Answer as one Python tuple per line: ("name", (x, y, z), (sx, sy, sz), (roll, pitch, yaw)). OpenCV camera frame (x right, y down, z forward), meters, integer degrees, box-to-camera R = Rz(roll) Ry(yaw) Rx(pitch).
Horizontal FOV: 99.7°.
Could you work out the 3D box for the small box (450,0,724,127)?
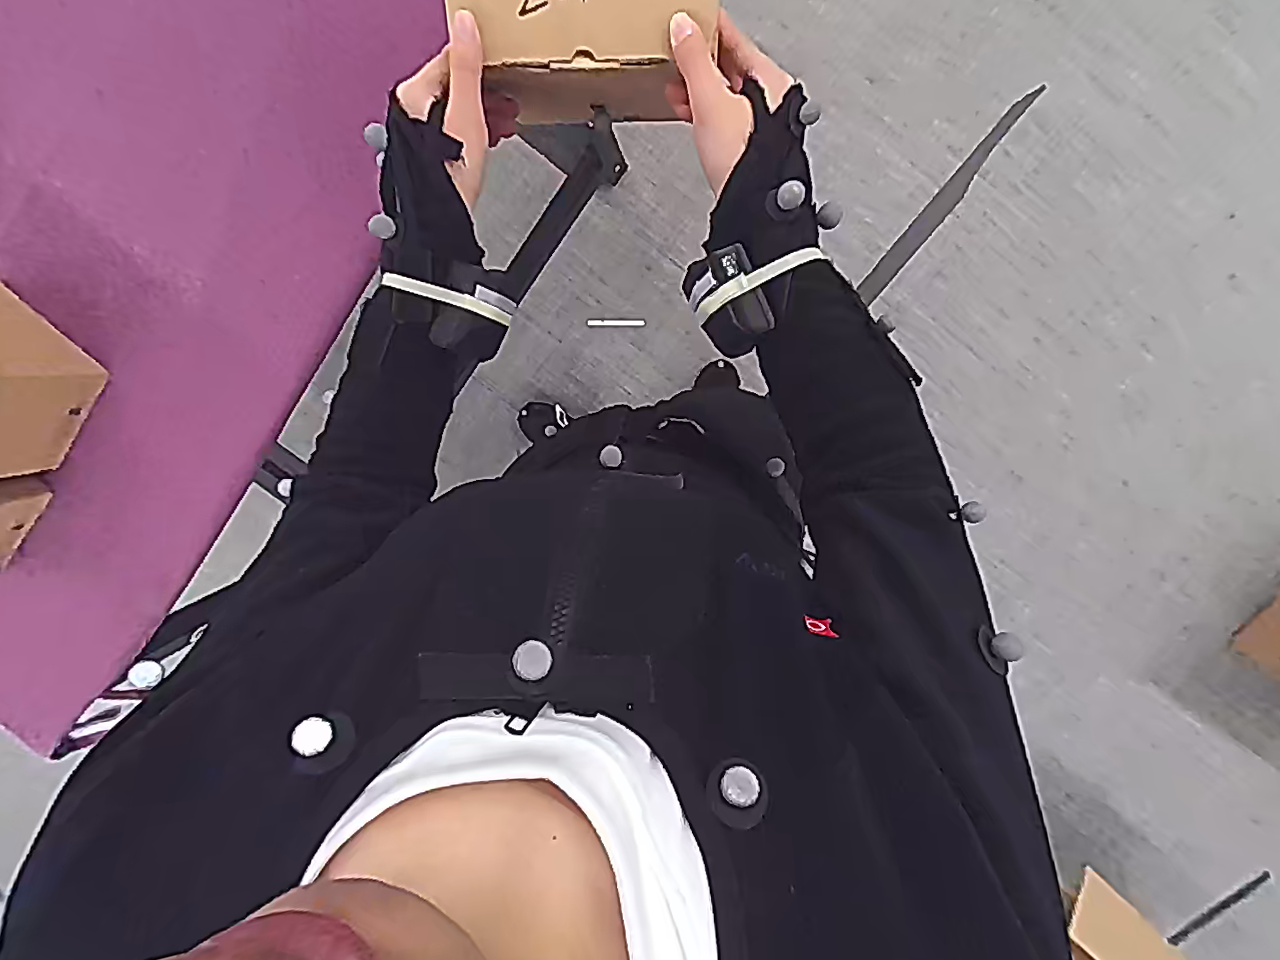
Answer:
("small box", (-0.028, -0.366, 0.373), (0.168, 0.176, 0.179), (1, 112, 3))
